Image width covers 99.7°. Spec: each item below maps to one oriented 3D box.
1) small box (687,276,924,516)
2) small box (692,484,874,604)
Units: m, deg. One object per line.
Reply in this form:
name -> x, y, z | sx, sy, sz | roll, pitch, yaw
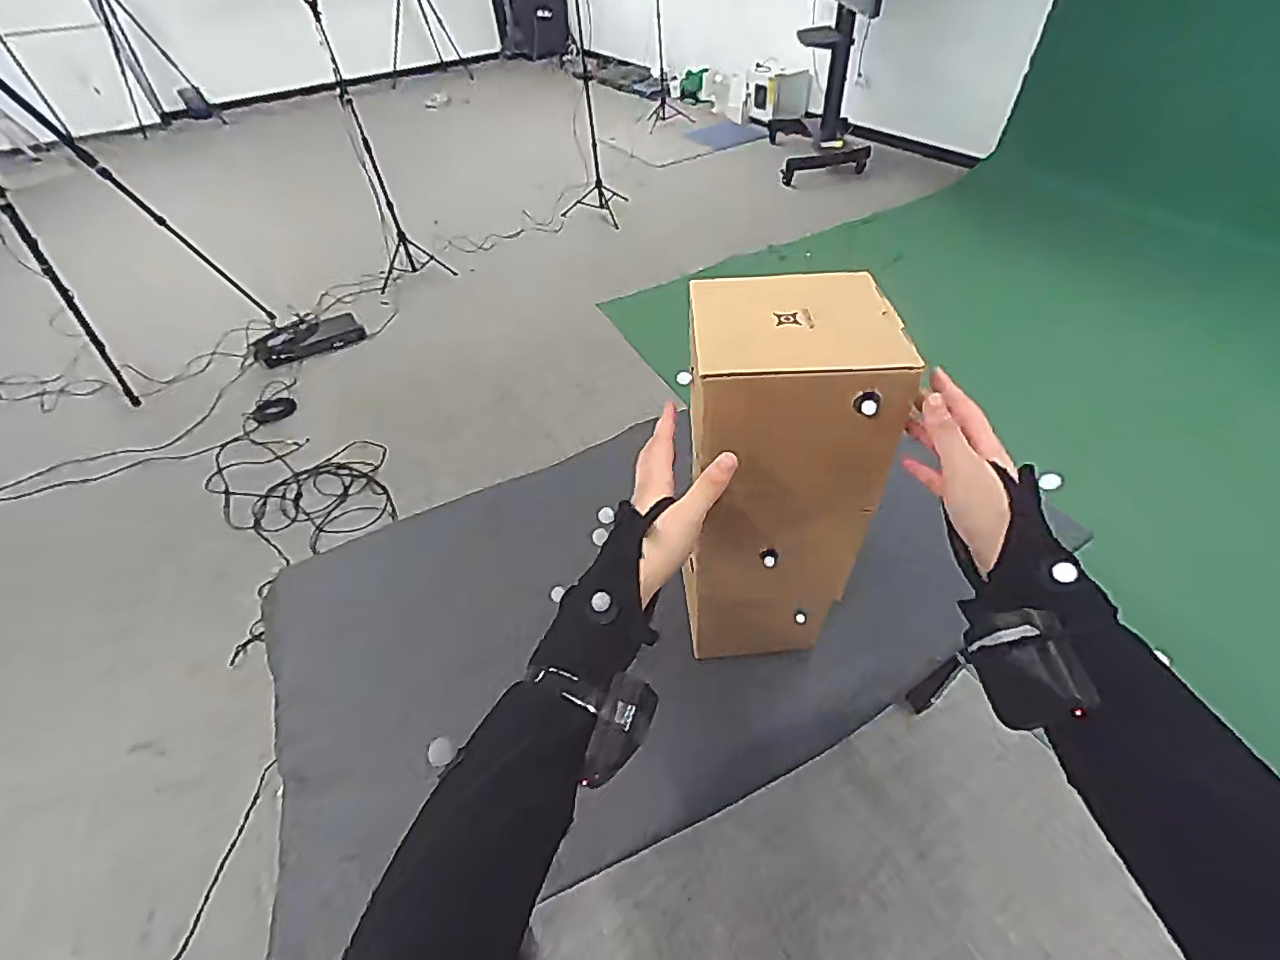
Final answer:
small box -> 0.137, -0.078, 0.524 | 0.179, 0.176, 0.168 | -2, 46, 3
small box -> 0.152, 0.034, 0.641 | 0.179, 0.176, 0.168 | -1, 46, 6
